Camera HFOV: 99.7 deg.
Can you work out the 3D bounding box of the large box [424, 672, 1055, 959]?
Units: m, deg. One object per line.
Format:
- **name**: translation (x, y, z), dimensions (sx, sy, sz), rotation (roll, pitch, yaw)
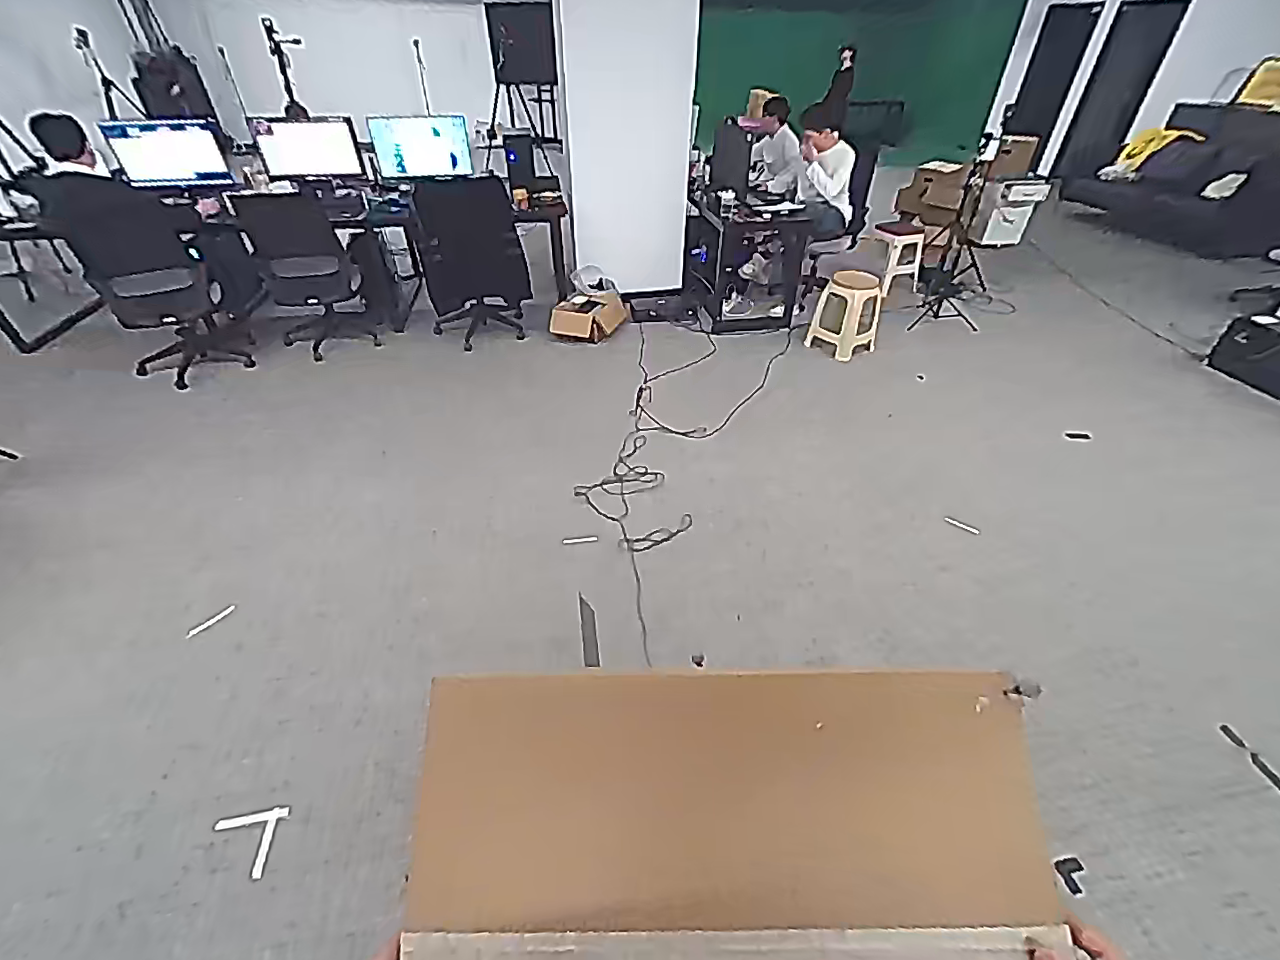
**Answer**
- **large box**: translation (0.059, 0.339, 0.481), dimensions (0.408, 0.320, 0.320), rotation (-1, 72, -1)
